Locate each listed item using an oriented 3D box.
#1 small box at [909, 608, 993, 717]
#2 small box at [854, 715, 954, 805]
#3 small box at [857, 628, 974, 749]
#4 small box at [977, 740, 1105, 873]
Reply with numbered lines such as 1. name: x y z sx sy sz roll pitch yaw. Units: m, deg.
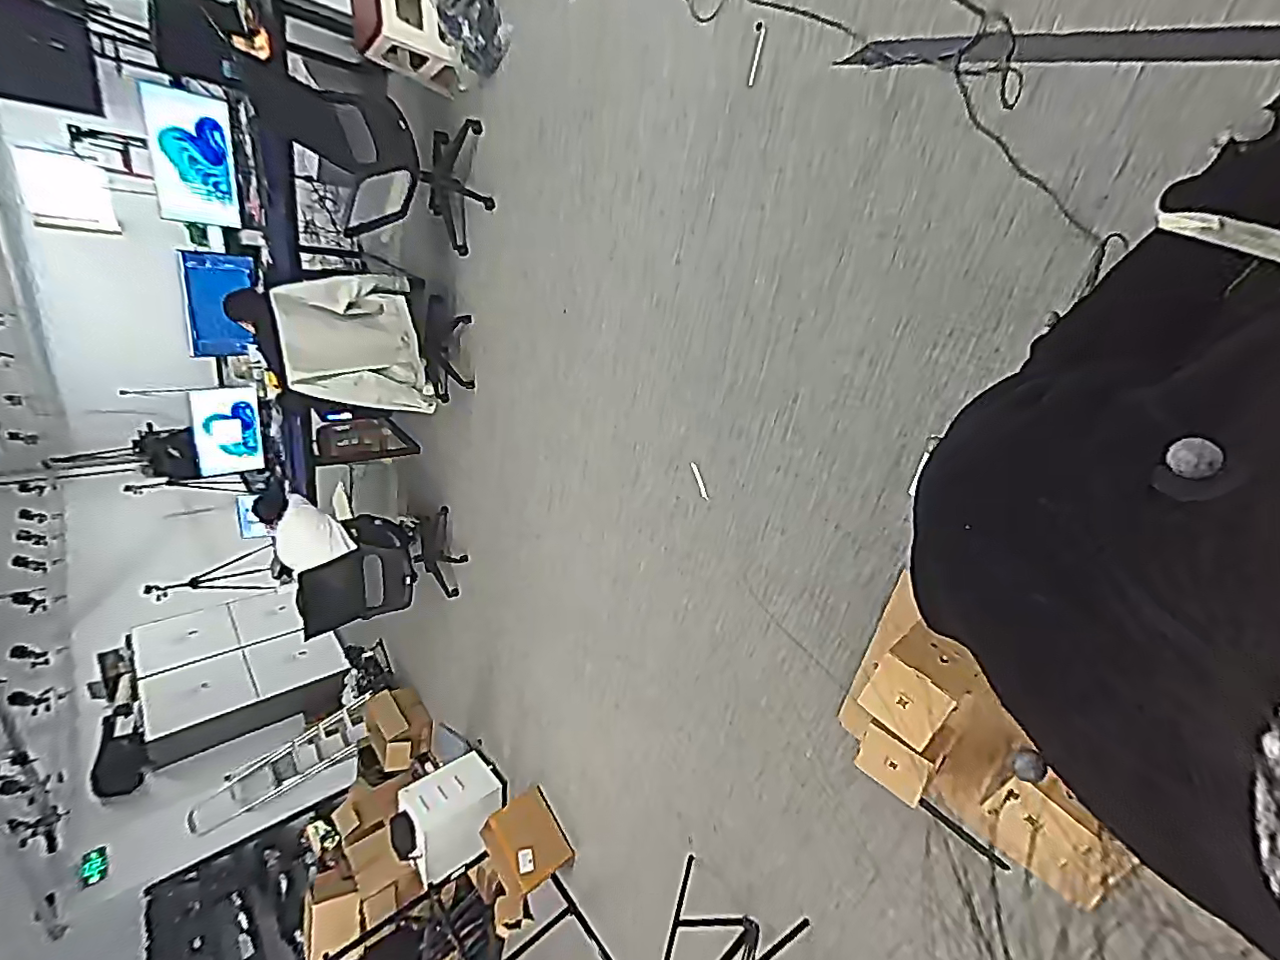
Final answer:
1. small box: 0.777 0.464 1.399 0.168 0.176 0.179 32 121 37
2. small box: 0.738 0.748 1.513 0.179 0.176 0.168 27 119 40
3. small box: 0.659 0.489 1.290 0.168 0.176 0.179 36 123 36
4. small box: 0.953 0.764 1.281 0.179 0.176 0.168 40 126 32
